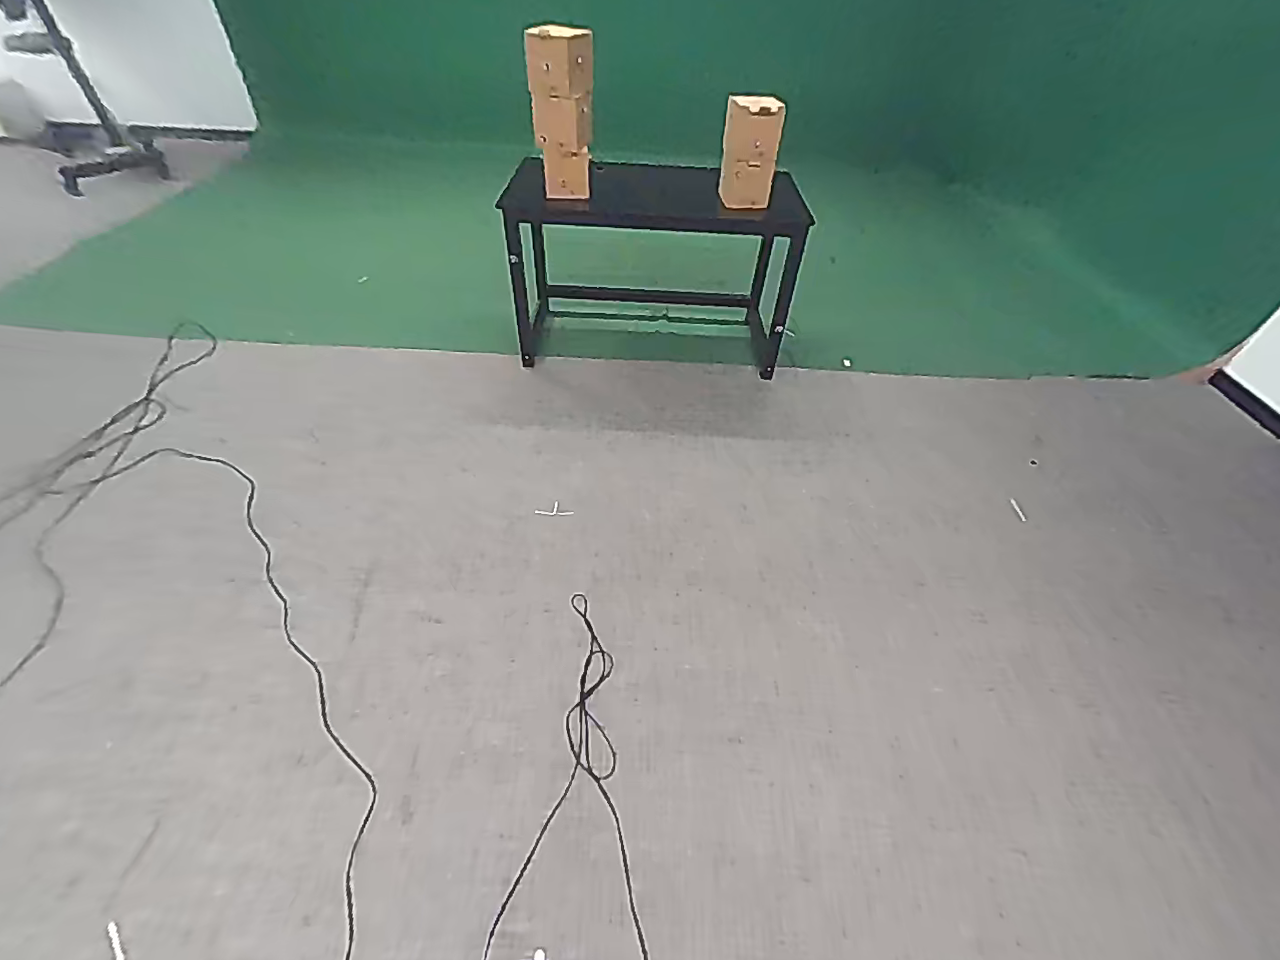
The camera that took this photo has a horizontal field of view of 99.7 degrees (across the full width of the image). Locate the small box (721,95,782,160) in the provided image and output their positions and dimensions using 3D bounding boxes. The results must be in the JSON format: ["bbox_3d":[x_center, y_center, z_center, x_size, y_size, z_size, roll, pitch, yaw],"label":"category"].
[{"bbox_3d":[0.404,-1.298,1.989,0.168,0.176,0.179,-3,46,-6],"label":"small box"}]

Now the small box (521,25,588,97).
[{"bbox_3d":[-0.286,-1.447,1.867,0.168,0.176,0.179,21,50,14],"label":"small box"}]

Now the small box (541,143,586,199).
[{"bbox_3d":[-0.296,-1.213,2.098,0.168,0.176,0.179,-3,47,-7],"label":"small box"}]

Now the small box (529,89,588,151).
[{"bbox_3d":[-0.291,-1.328,1.980,0.168,0.176,0.179,13,46,8],"label":"small box"}]
